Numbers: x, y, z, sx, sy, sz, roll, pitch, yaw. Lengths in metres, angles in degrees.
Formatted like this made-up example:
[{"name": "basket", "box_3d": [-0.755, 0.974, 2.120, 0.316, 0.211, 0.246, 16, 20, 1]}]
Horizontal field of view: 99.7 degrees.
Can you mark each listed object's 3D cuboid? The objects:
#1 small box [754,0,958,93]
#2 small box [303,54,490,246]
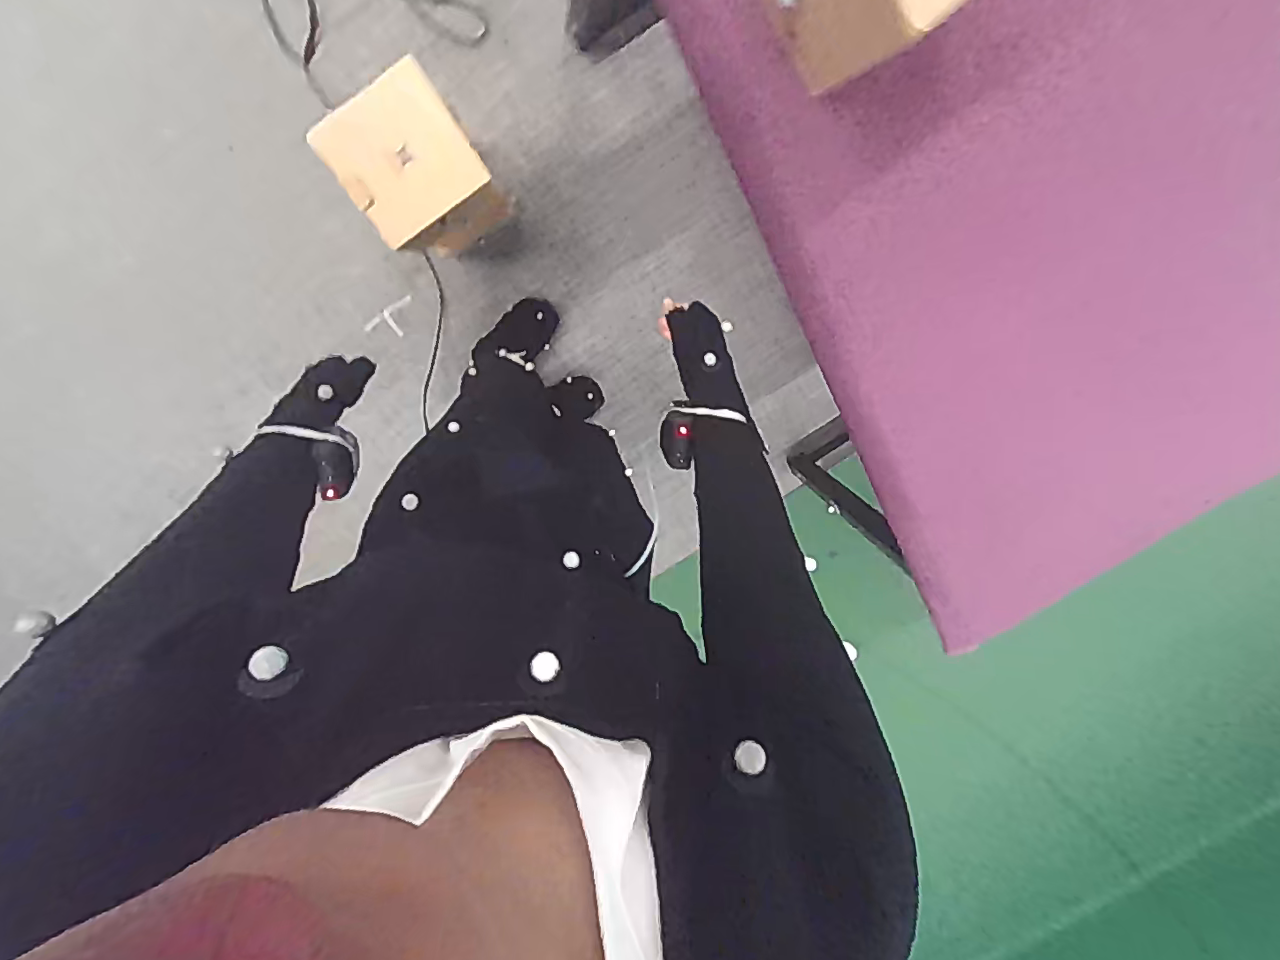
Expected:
[{"name": "small box", "box_3d": [0.207, -0.478, 0.455, 0.179, 0.176, 0.168, -38, 114, 5]}, {"name": "small box", "box_3d": [-0.337, -0.468, 0.795, 0.179, 0.176, 0.168, -32, 114, 6]}]
